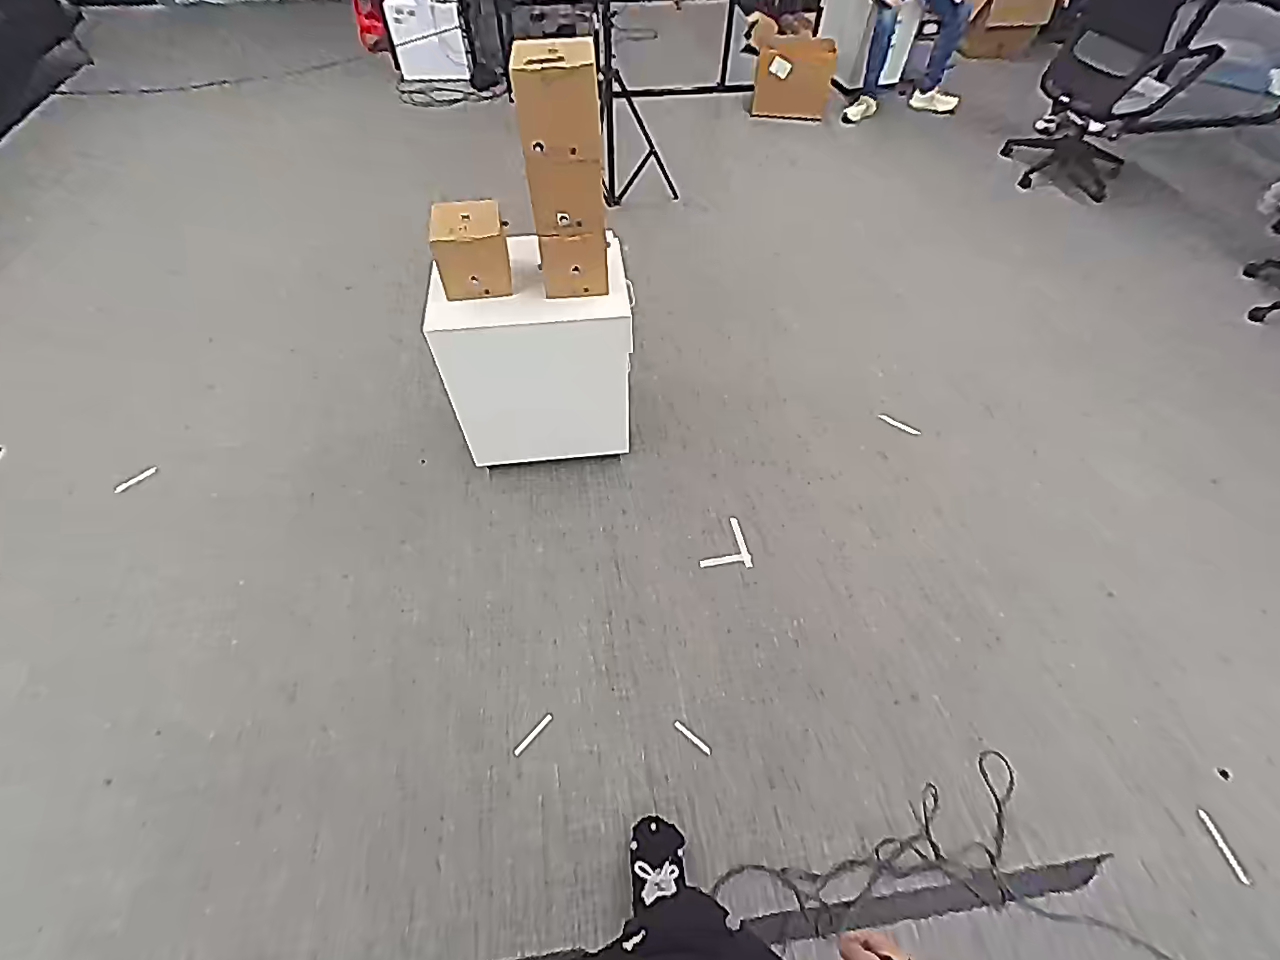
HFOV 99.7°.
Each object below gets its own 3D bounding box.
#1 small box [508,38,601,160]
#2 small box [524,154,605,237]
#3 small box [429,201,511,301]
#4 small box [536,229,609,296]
[{"bbox_3d":[-0.172,-0.787,1.127,0.168,0.176,0.179,-5,53,-2],"label":"small box"},{"bbox_3d":[-0.173,-0.693,1.262,0.168,0.176,0.179,-6,55,-3],"label":"small box"},{"bbox_3d":[-0.427,-0.583,1.380,0.168,0.176,0.179,-8,55,-6],"label":"small box"},{"bbox_3d":[-0.172,-0.591,1.389,0.168,0.176,0.179,-6,56,-3],"label":"small box"}]
